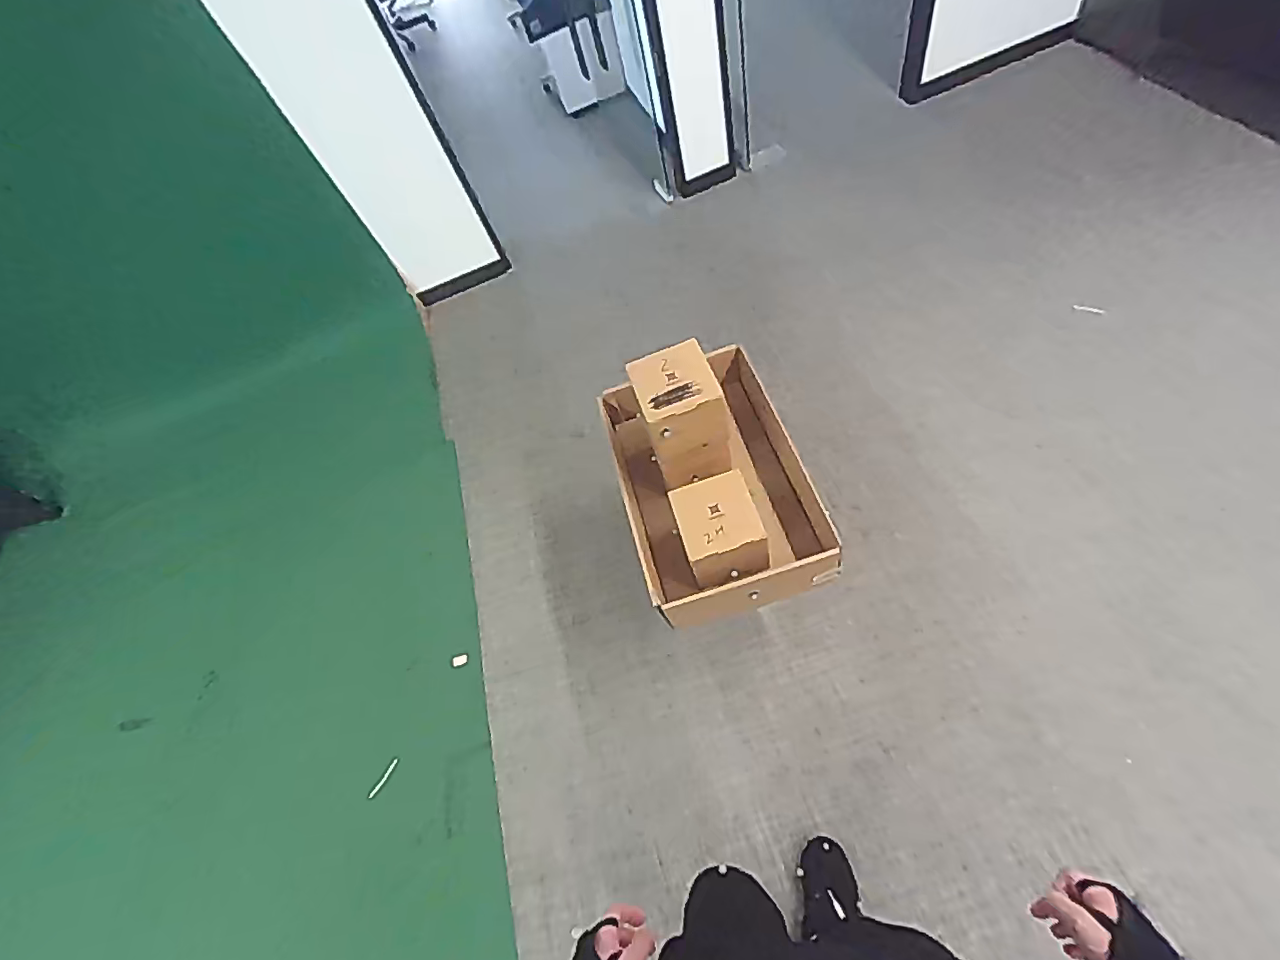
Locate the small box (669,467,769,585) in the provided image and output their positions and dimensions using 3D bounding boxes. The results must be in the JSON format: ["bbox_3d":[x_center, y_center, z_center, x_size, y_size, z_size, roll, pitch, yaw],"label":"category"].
[{"bbox_3d":[0.175,0.105,1.188,0.168,0.176,0.179,-19,56,5],"label":"small box"}]

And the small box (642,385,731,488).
[{"bbox_3d":[0.117,-0.097,1.333,0.168,0.176,0.179,-20,59,3],"label":"small box"}]
